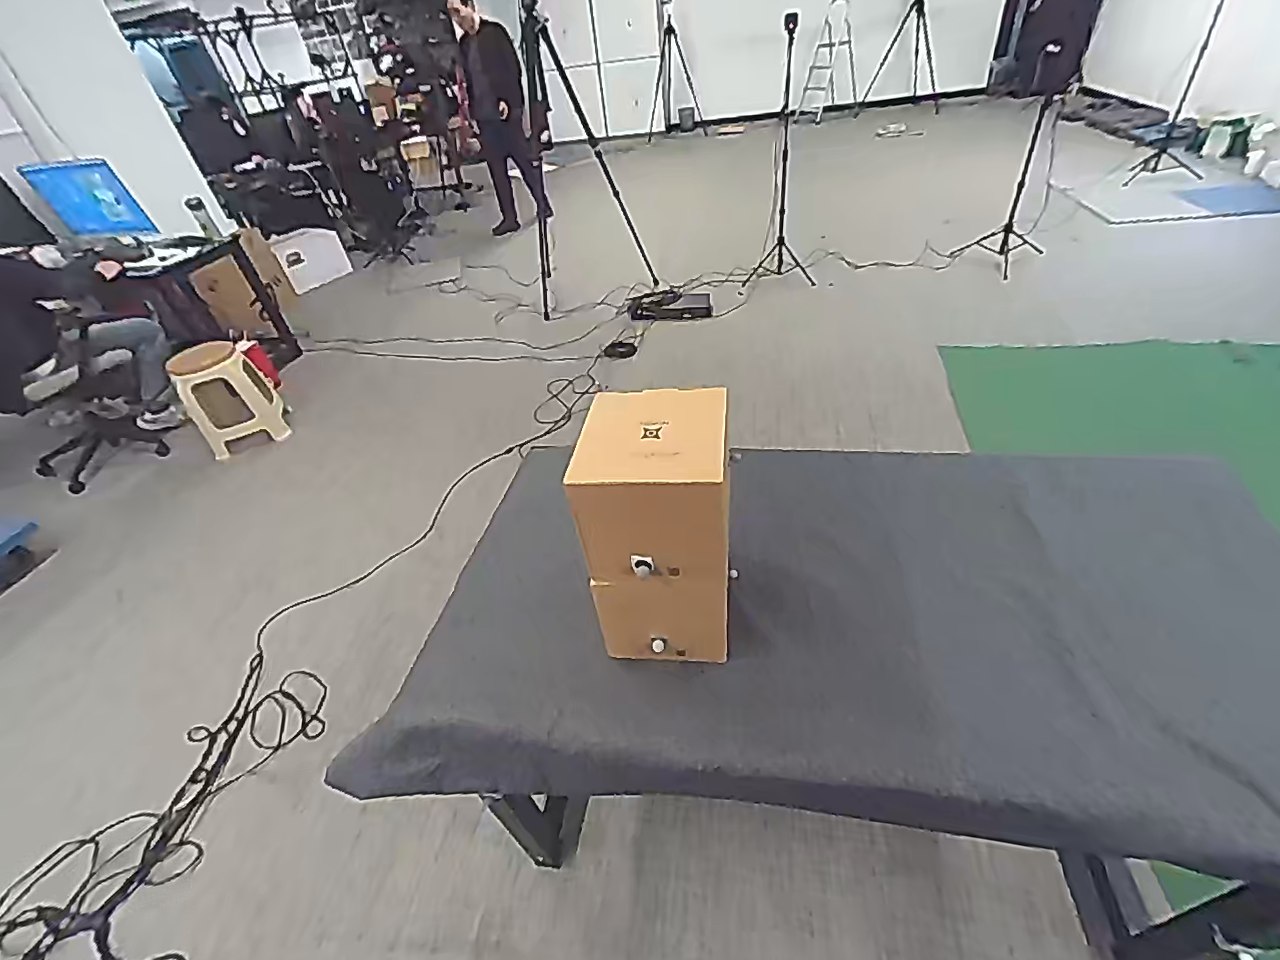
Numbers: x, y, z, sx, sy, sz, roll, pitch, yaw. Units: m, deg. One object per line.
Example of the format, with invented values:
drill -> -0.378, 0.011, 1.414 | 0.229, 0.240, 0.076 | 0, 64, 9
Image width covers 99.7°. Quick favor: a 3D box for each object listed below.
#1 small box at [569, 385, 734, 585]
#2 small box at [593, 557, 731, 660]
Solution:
small box -> 0.027, 0.004, 0.654 | 0.168, 0.176, 0.179 | -1, 42, 11
small box -> 0.042, 0.127, 0.759 | 0.168, 0.176, 0.179 | -1, 41, 10
